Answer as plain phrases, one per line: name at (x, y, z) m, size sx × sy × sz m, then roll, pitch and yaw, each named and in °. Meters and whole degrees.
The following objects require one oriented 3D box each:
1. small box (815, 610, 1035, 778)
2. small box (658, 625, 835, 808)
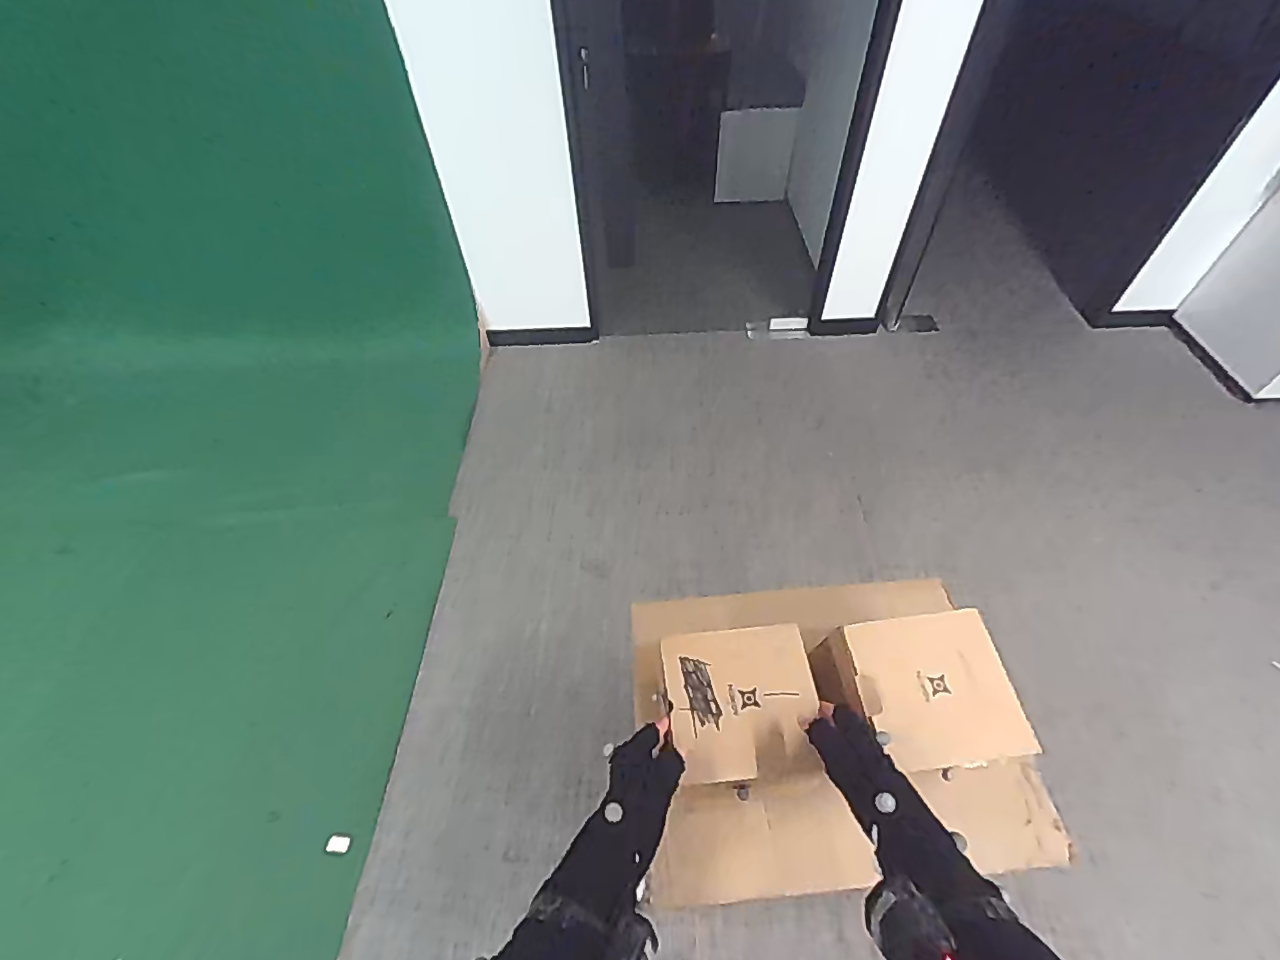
small box at (0.342, 0.281, 0.699) m, size 0.179 × 0.176 × 0.168 m, roll -7°, pitch 61°, yaw -4°
small box at (0.119, 0.301, 0.682) m, size 0.179 × 0.176 × 0.168 m, roll -5°, pitch 51°, yaw -2°
